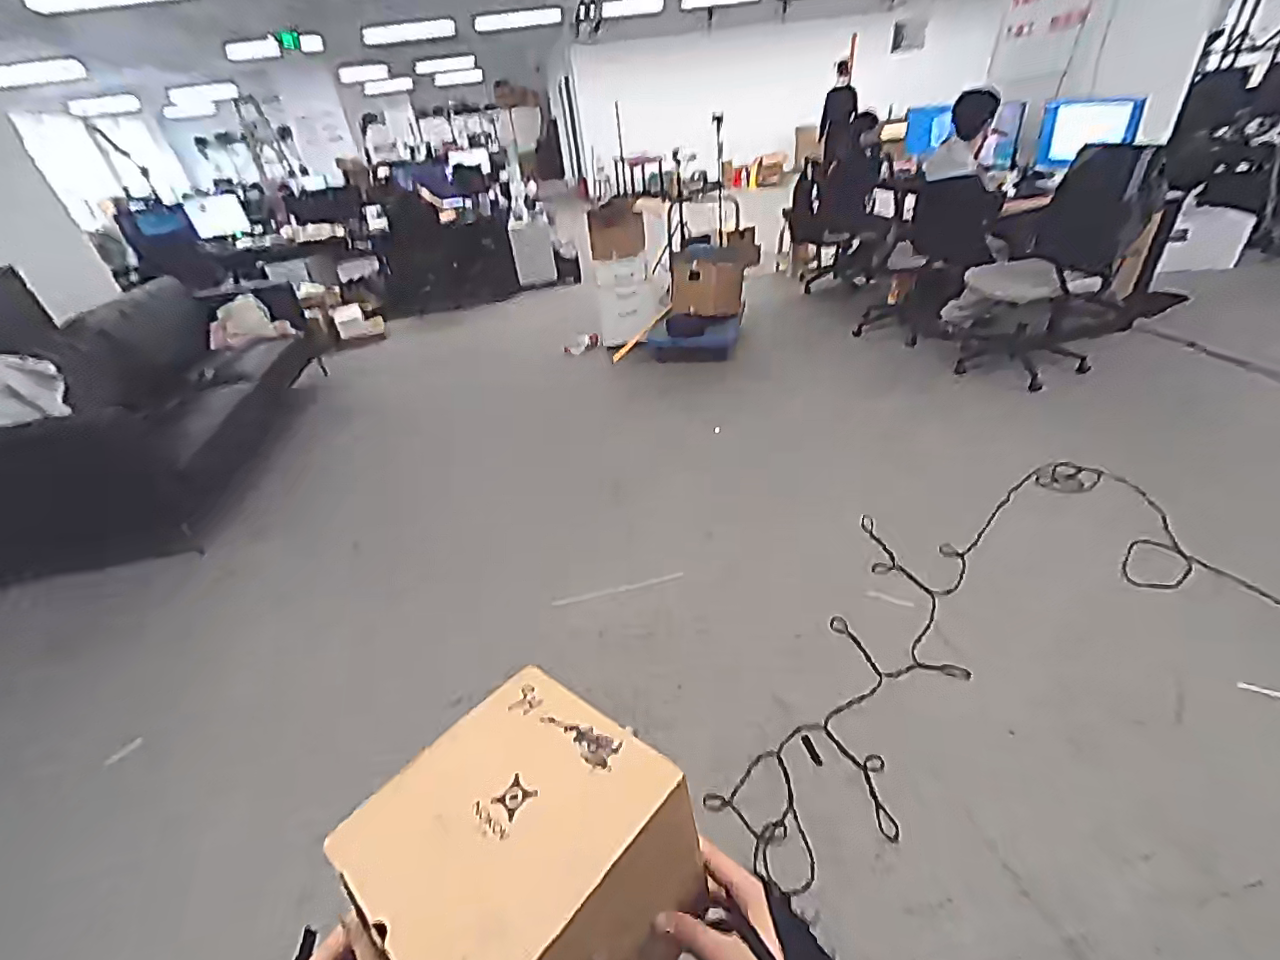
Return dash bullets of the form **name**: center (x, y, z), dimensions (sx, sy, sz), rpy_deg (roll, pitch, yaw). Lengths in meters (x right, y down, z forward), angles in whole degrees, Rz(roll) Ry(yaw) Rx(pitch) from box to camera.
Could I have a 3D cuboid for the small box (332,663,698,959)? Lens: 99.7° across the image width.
- **small box**: center (-0.074, 0.278, 0.389), dimensions (0.168, 0.176, 0.179), rpy_deg (16, 38, 40)
